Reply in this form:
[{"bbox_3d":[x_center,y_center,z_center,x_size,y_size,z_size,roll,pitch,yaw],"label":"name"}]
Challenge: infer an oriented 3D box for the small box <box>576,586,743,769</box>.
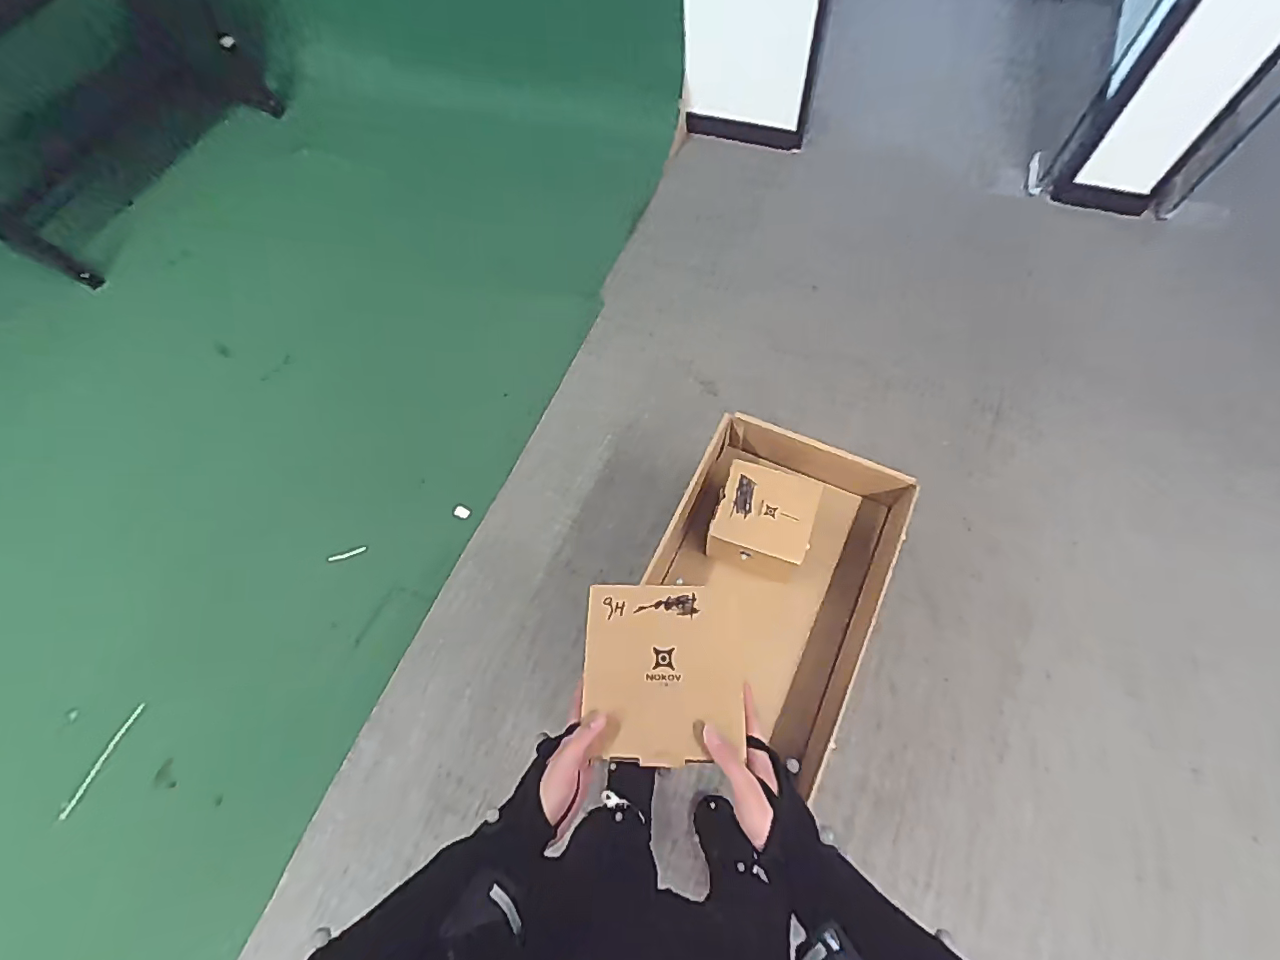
[{"bbox_3d":[0.028,0.226,0.624,0.168,0.176,0.179,-1,66,4],"label":"small box"}]
